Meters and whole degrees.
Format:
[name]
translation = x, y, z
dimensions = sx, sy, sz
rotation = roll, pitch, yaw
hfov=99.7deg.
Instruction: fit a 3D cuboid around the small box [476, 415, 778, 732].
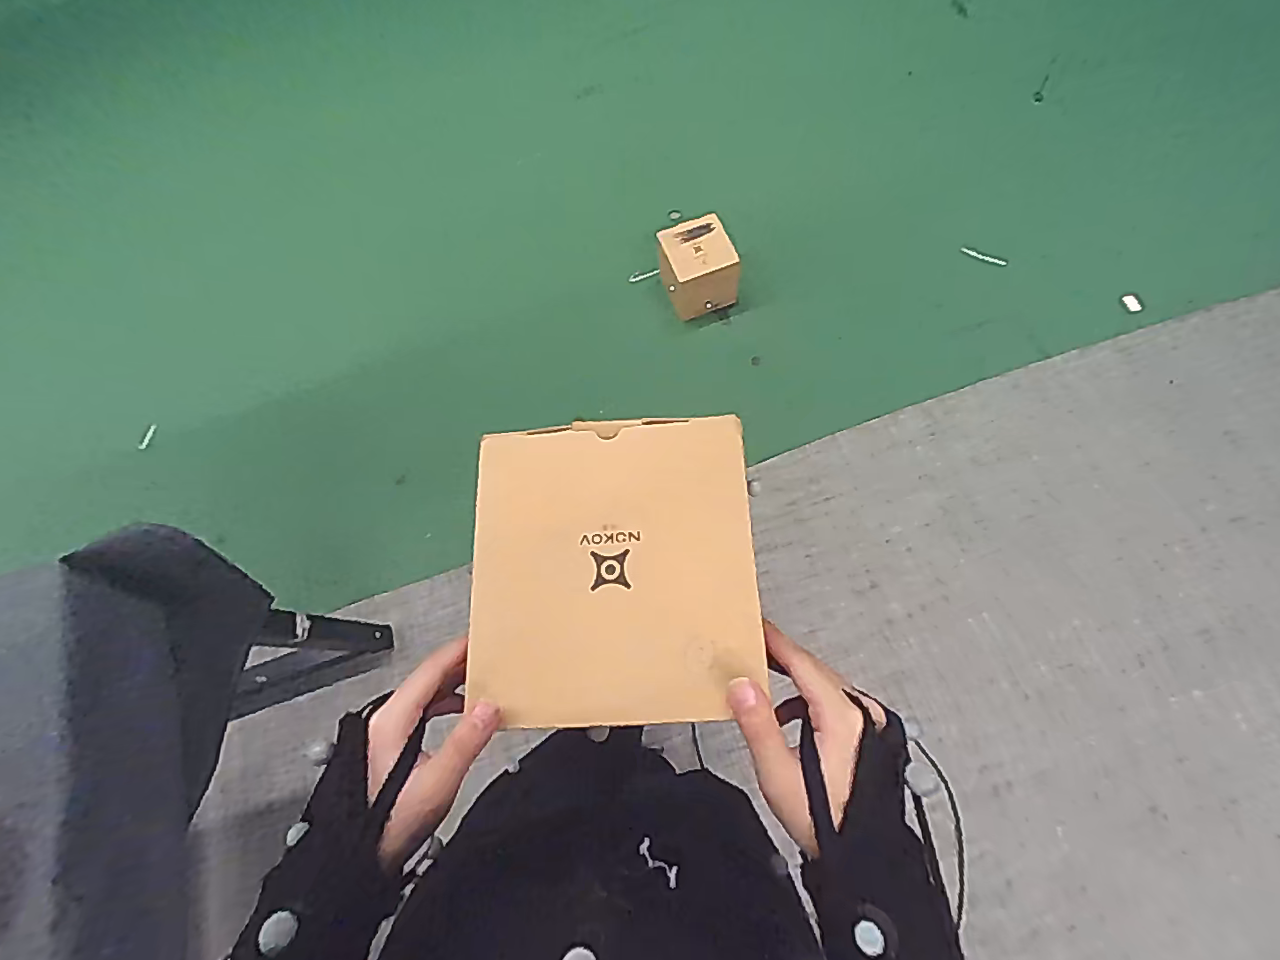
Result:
[small box]
translation = -0.003, 0.073, 0.385
dimensions = 0.168, 0.176, 0.179
rotation = -4, 70, 4
